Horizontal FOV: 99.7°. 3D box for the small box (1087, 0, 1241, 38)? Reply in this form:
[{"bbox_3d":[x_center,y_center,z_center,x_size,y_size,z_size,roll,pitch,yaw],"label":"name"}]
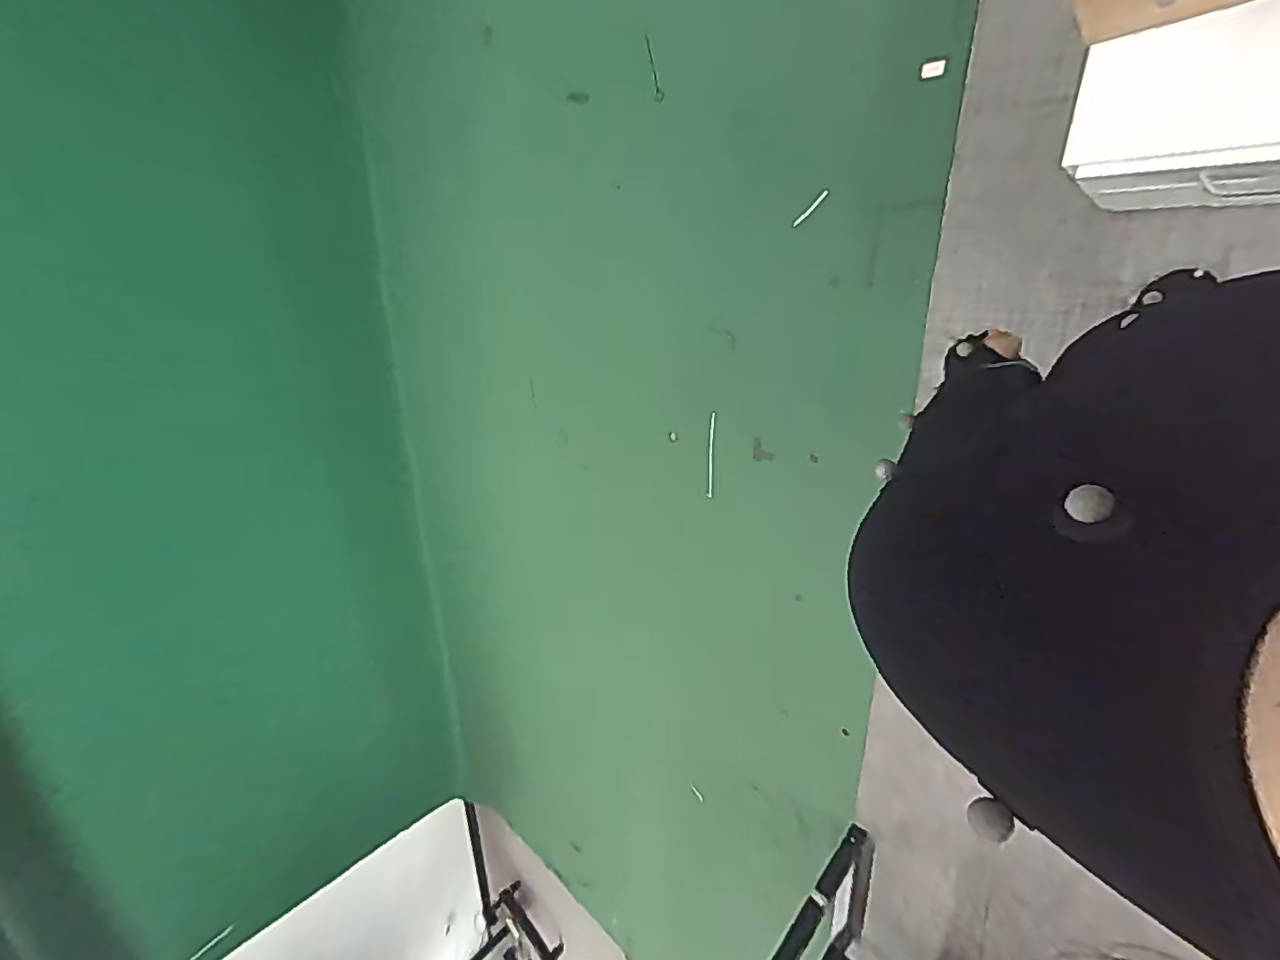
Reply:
[{"bbox_3d":[0.537,-0.557,0.501,0.179,0.176,0.168,11,112,40],"label":"small box"}]
